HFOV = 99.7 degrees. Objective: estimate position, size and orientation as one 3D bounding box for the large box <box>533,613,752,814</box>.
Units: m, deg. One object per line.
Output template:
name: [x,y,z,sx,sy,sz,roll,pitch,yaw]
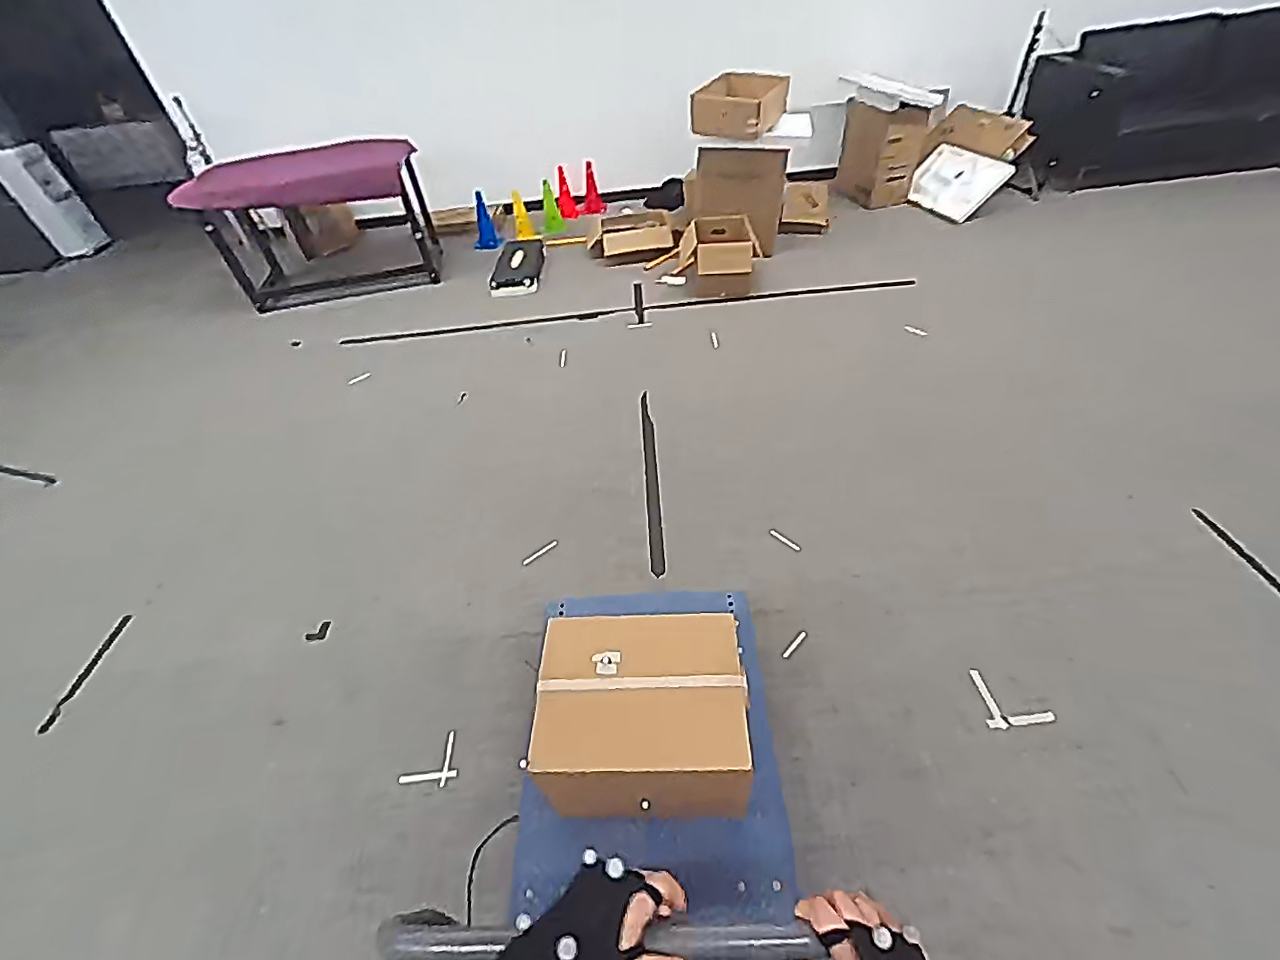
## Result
large box: [0.016,0.513,1.179,0.408,0.320,0.320,-4,44,4]
